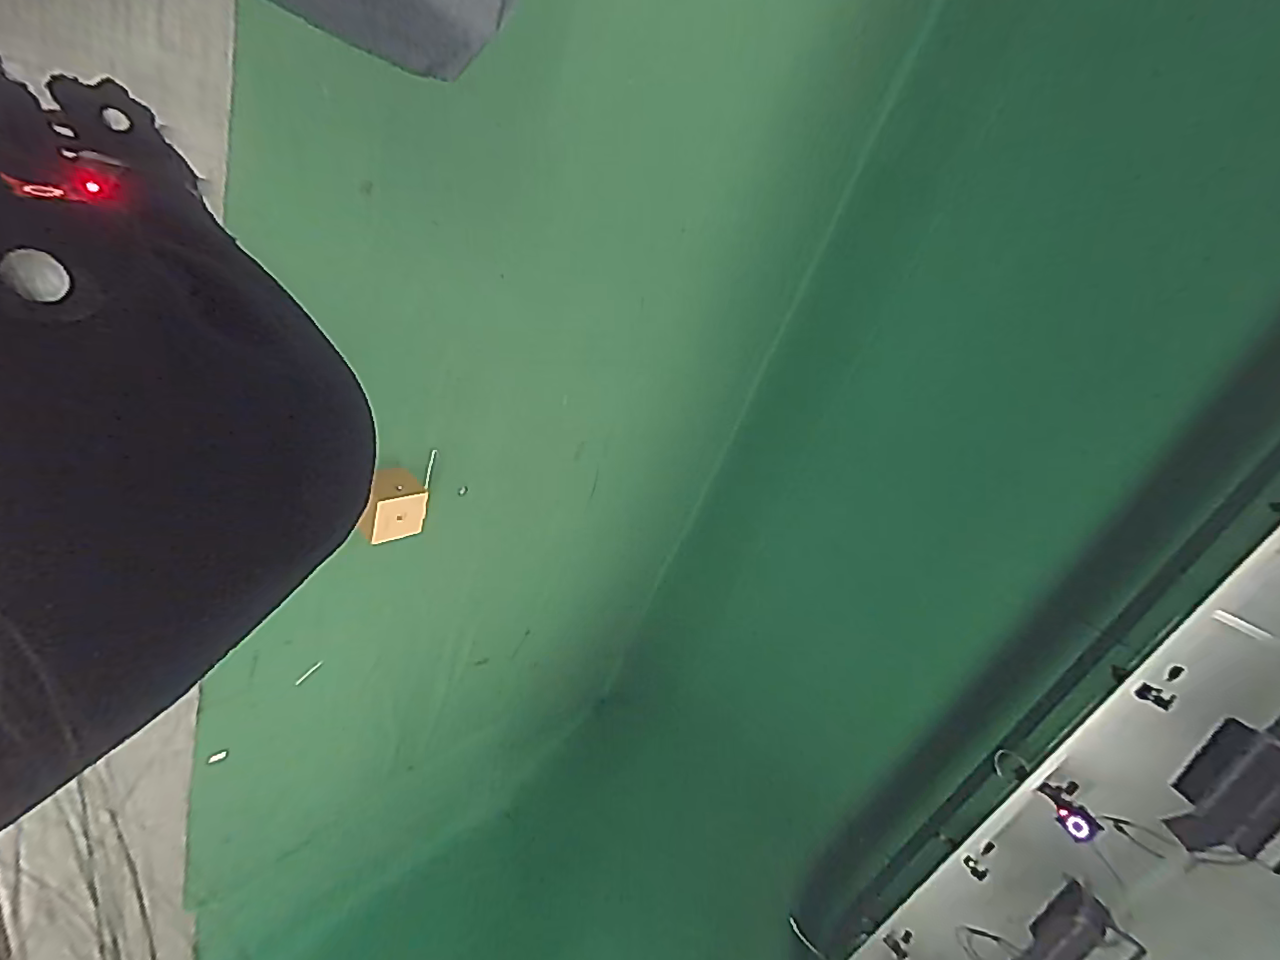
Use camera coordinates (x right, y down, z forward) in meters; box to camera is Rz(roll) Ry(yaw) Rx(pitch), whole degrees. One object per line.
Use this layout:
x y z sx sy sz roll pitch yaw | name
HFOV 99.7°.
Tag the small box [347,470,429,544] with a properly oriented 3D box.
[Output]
-0.827 0.081 1.773 0.179 0.176 0.168 -15 131 -52 | small box
